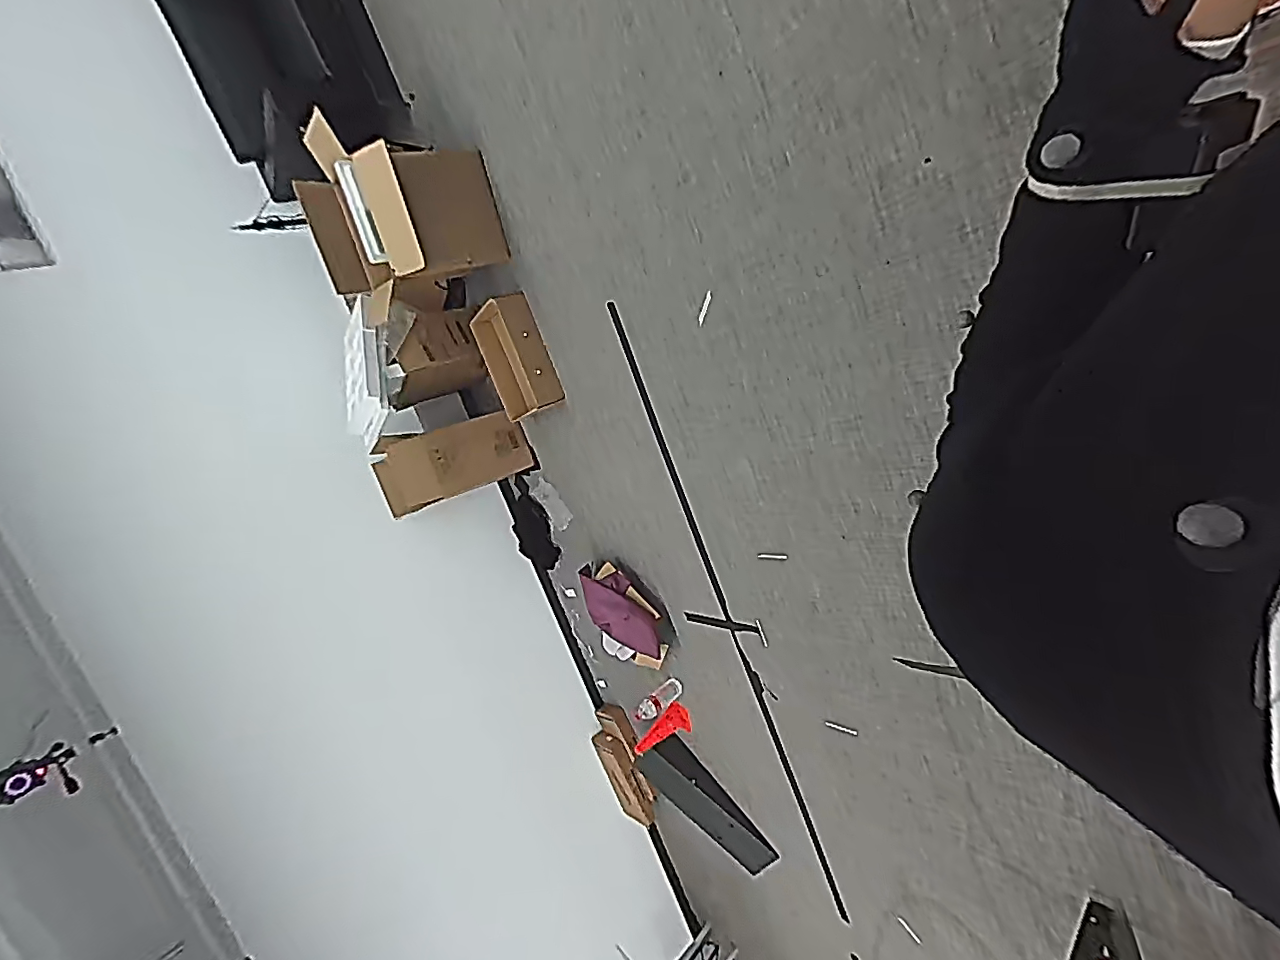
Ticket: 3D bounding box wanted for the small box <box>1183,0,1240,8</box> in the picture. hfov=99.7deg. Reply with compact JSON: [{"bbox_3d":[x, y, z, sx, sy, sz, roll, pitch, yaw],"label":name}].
[{"bbox_3d":[0.630,-0.577,0.490,0.179,0.176,0.168,5,117,54],"label":"small box"}]
